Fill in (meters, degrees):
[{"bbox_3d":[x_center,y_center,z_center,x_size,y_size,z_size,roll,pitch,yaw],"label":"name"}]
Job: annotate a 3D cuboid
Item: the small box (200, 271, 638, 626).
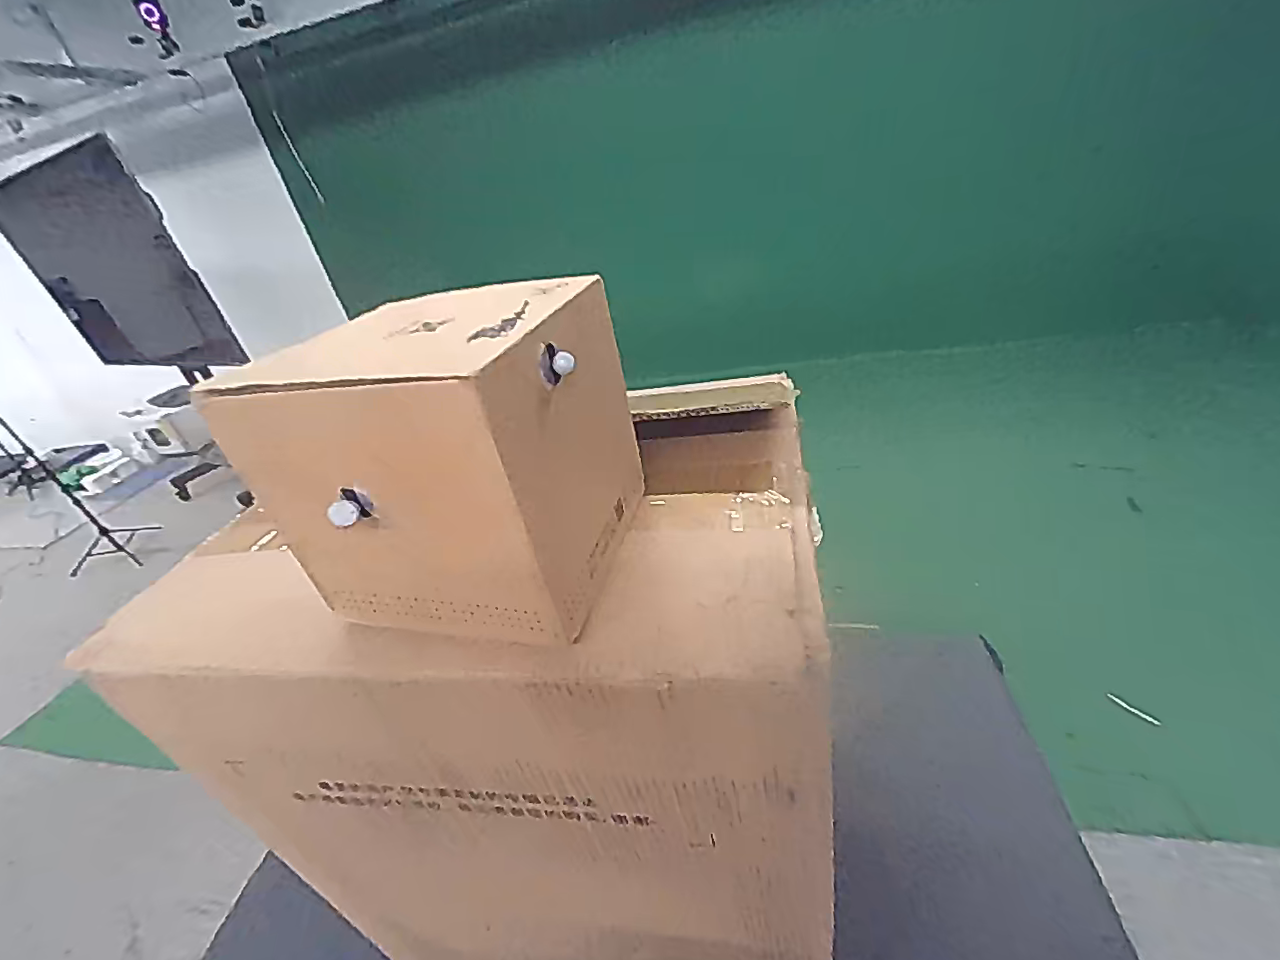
[{"bbox_3d":[-0.116,-0.023,0.359,0.179,0.176,0.168,0,34,19],"label":"small box"}]
